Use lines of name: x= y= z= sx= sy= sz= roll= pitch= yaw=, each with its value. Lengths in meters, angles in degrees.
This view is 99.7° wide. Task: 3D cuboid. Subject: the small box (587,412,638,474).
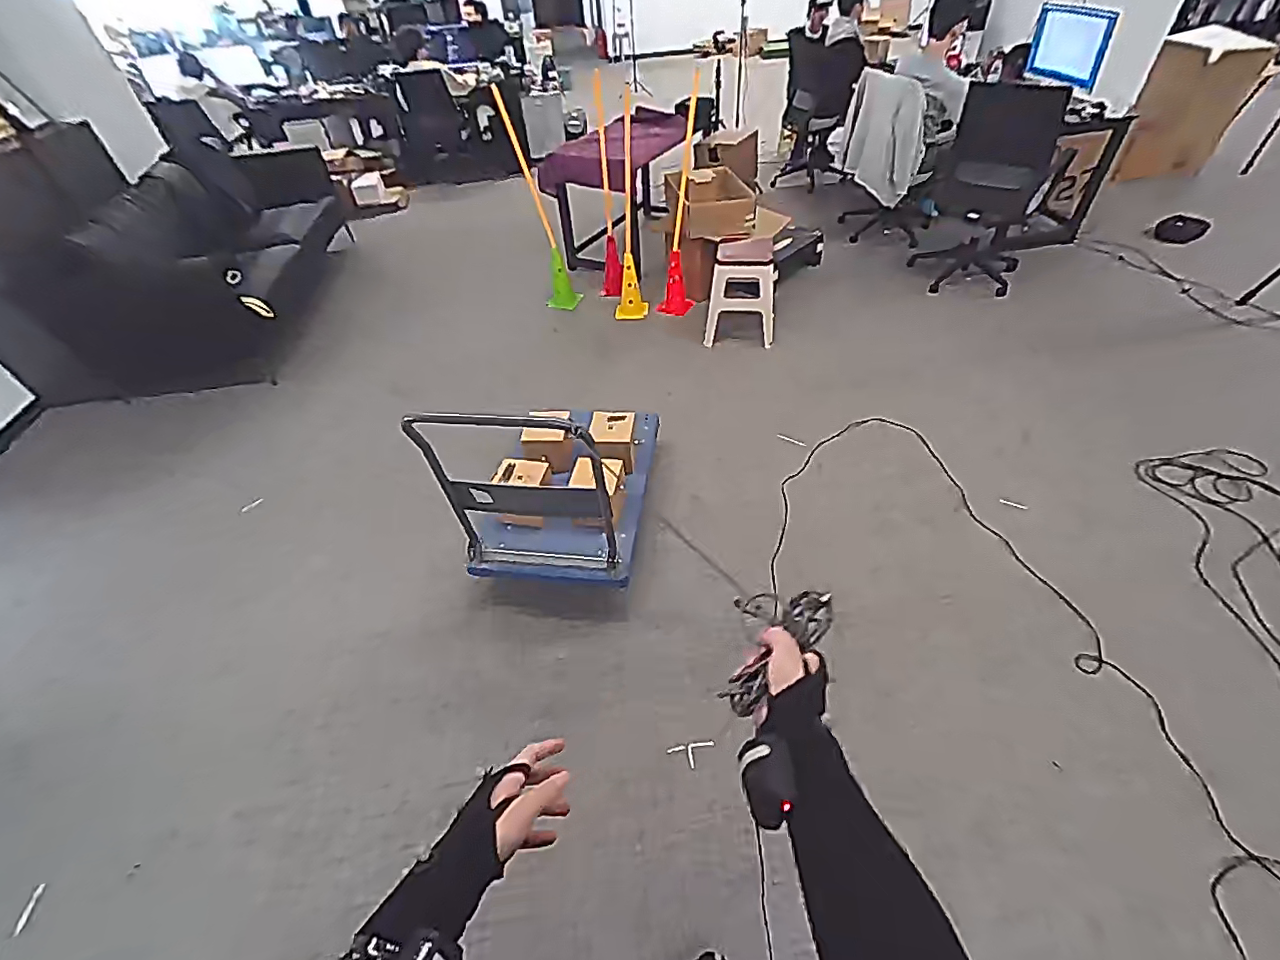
small box: x=-0.101 y=-0.145 z=2.094 sx=0.168 sy=0.176 sz=0.179 roll=2 pitch=47 yaw=8

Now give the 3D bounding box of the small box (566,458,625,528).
small box: x=-0.150 y=0.044 z=1.918 sx=0.168 sy=0.176 sz=0.179 roll=4 pitch=47 yaw=10

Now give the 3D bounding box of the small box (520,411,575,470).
small box: x=-0.356 y=-0.154 z=2.128 sx=0.168 sy=0.176 sz=0.179 roll=1 pitch=46 yaw=6
